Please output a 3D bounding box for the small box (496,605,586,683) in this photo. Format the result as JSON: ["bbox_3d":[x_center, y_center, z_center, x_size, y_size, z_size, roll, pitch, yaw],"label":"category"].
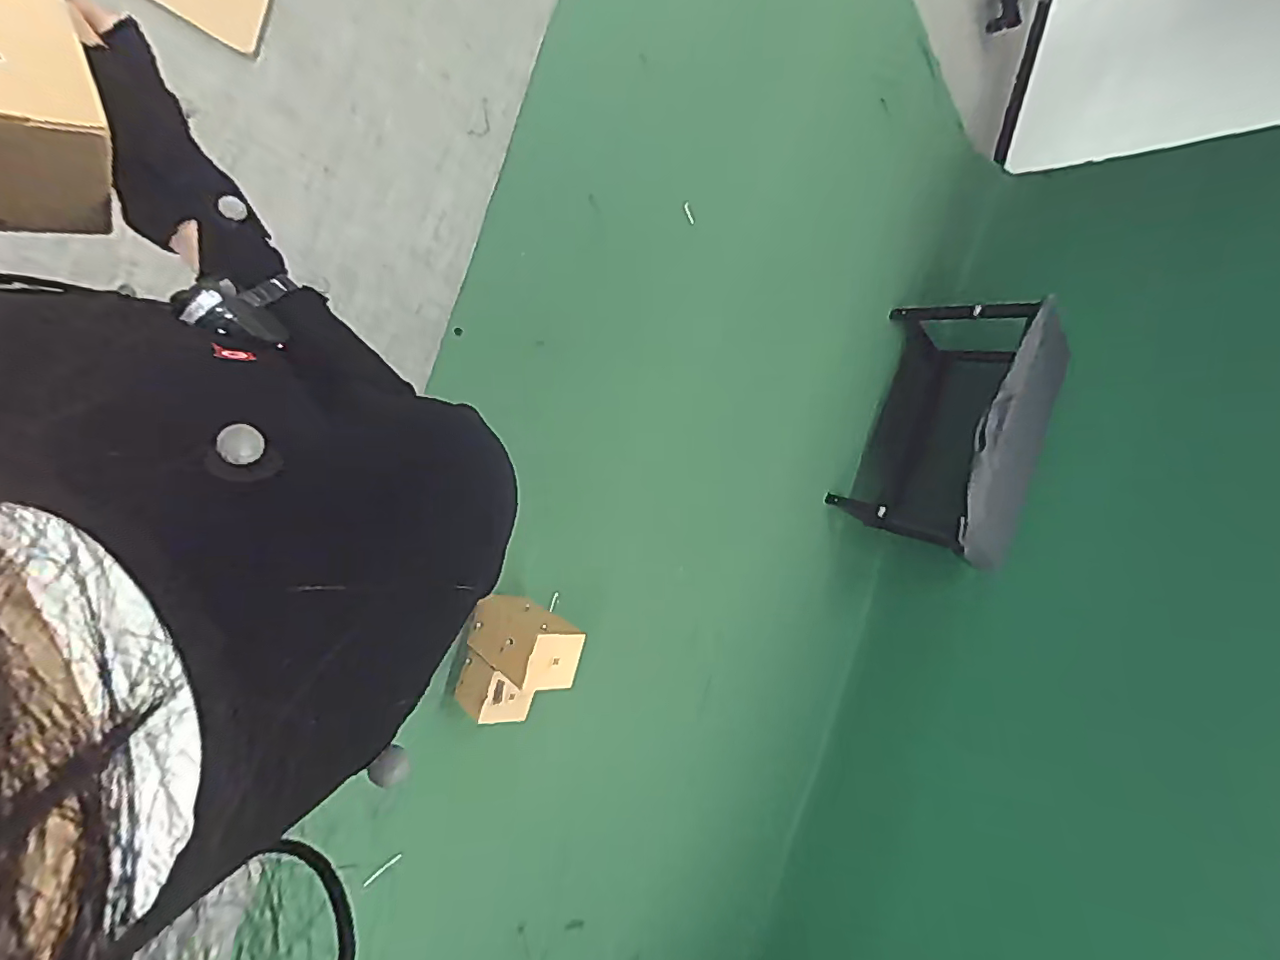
[{"bbox_3d":[-0.294,0.478,1.593,0.179,0.176,0.168,15,91,-43],"label":"small box"}]
